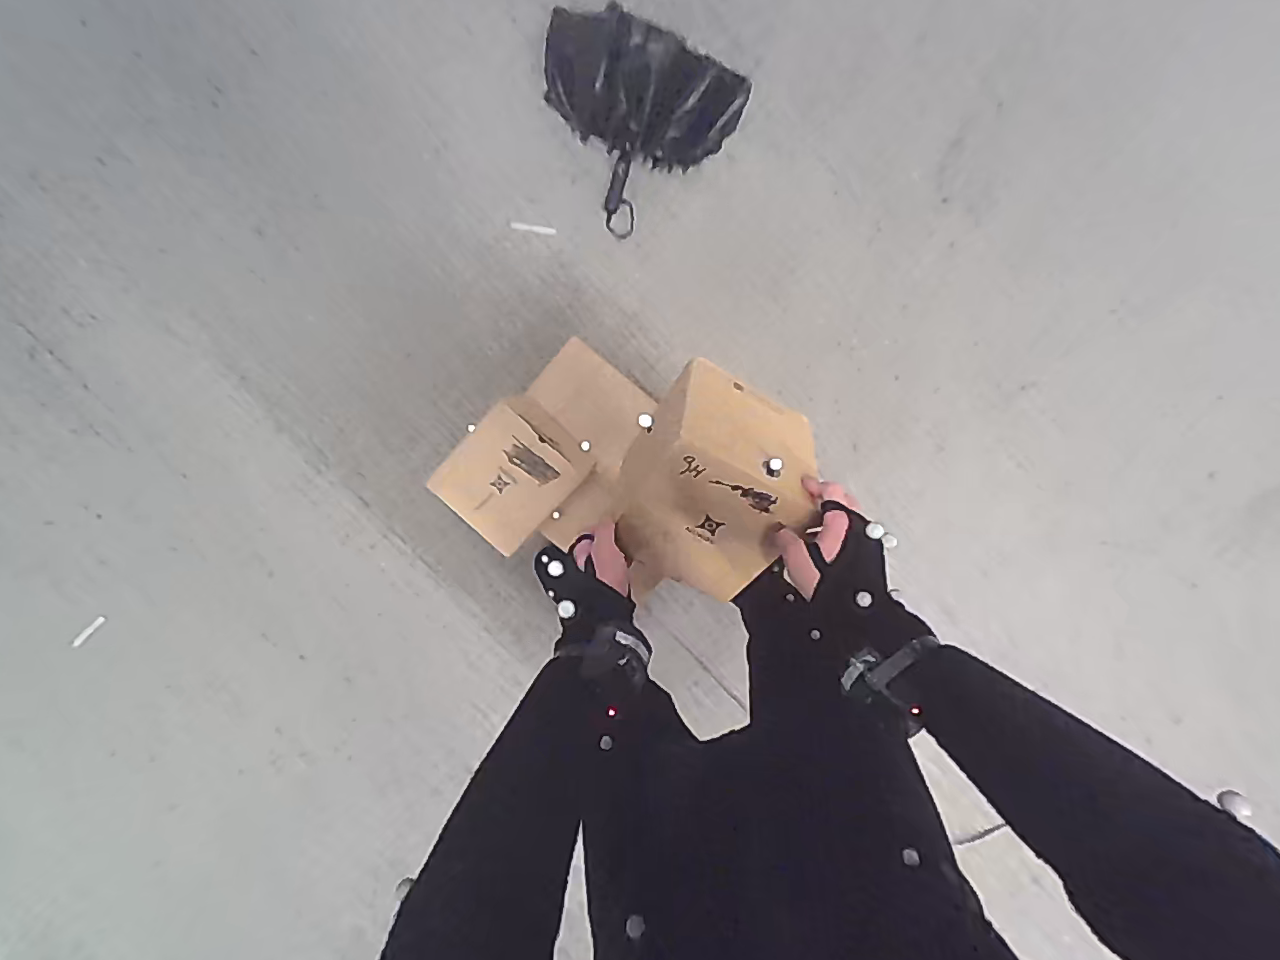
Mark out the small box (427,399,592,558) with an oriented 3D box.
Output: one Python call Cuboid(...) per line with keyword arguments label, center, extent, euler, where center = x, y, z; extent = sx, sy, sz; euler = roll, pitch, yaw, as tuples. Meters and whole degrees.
Cuboid(label="small box", center=(-0.190, -0.013, 0.851), extent=(0.168, 0.176, 0.179), euler=(45, 98, -5))
